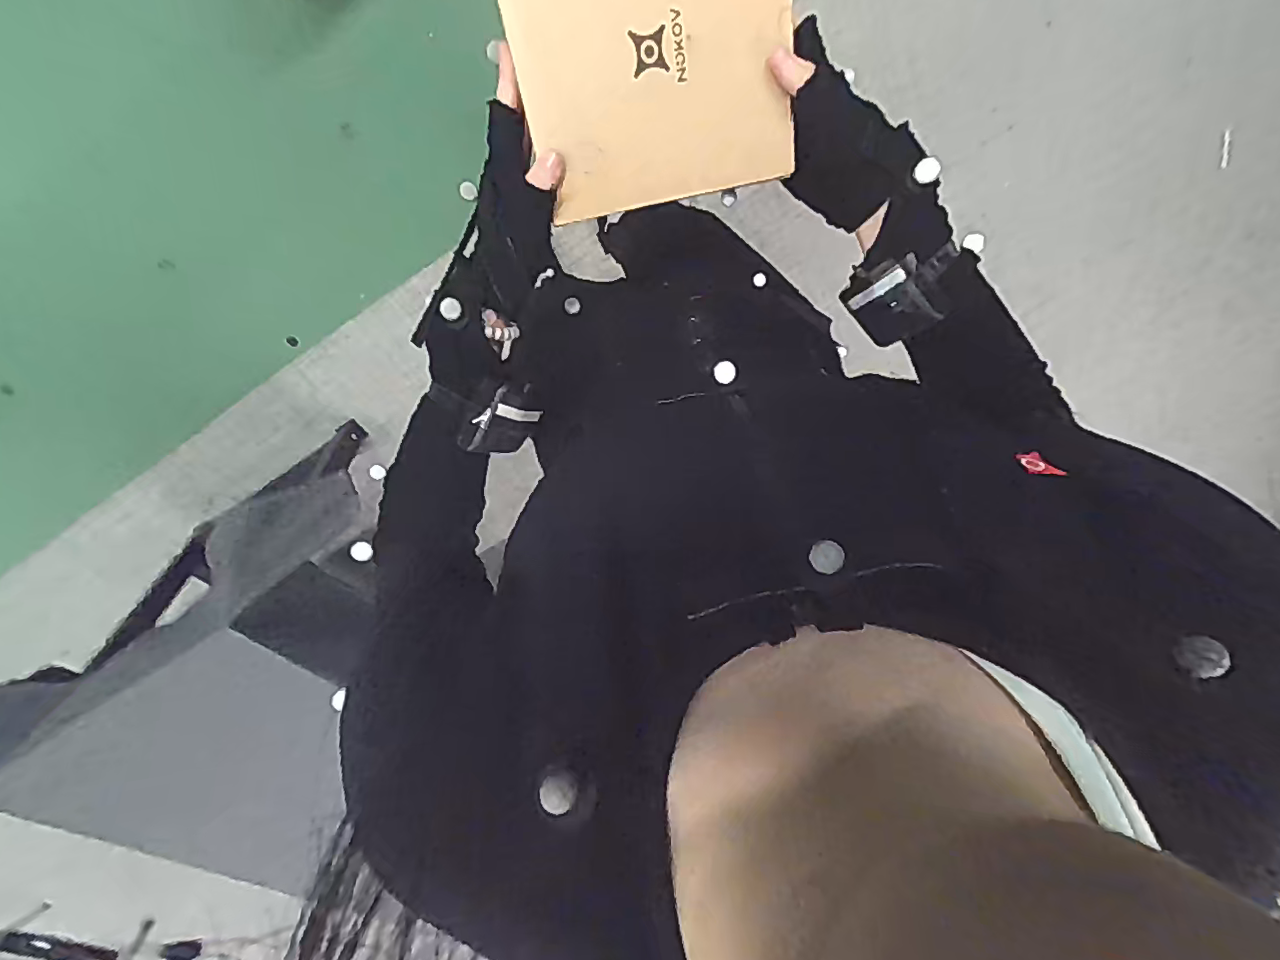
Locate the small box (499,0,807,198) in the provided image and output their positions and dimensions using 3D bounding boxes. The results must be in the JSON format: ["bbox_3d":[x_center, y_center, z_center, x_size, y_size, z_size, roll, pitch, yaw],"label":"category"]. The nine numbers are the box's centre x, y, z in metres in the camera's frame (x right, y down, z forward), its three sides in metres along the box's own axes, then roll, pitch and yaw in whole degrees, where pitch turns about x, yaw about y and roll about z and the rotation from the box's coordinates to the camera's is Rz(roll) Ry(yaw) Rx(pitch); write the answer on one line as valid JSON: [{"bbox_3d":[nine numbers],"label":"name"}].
[{"bbox_3d":[-0.002,-0.307,0.378,0.179,0.176,0.168,-15,123,-4],"label":"small box"}]
